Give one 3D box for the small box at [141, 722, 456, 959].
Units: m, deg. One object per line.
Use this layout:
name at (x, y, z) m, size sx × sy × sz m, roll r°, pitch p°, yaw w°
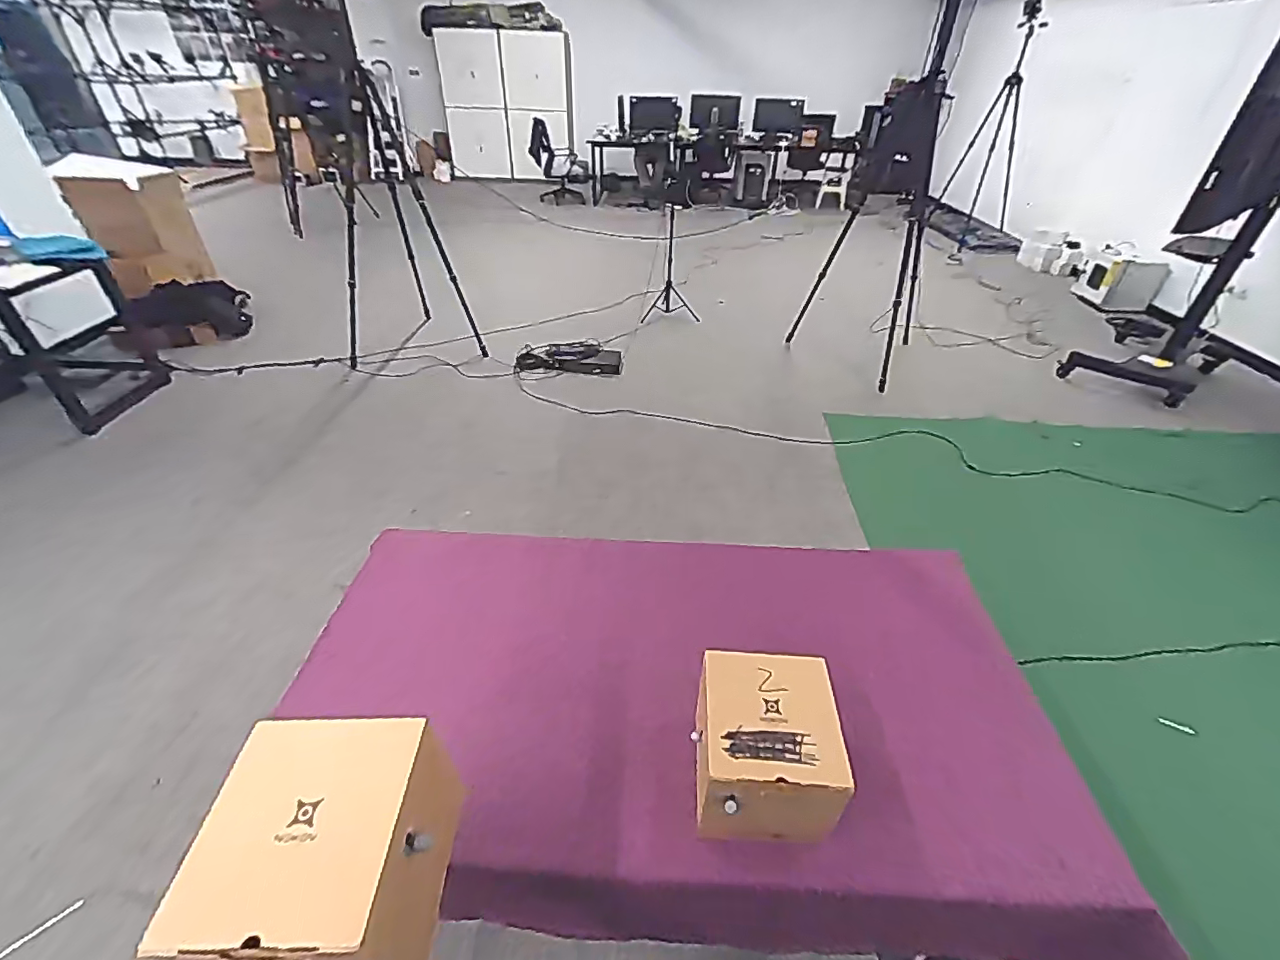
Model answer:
small box at (-0.285, 0.351, 0.507) m, size 0.168 × 0.176 × 0.179 m, roll 0°, pitch 41°, yaw -1°
